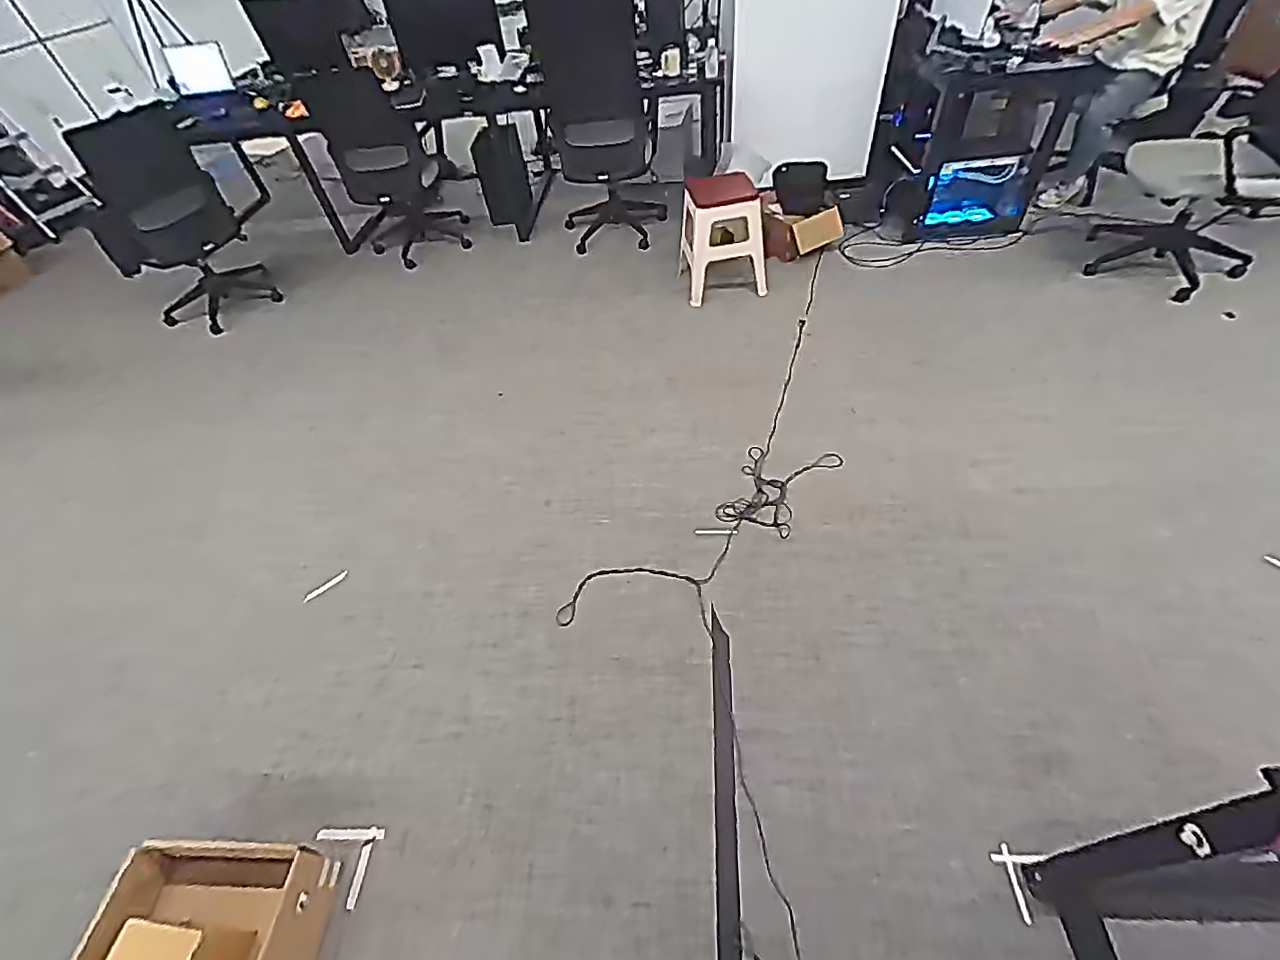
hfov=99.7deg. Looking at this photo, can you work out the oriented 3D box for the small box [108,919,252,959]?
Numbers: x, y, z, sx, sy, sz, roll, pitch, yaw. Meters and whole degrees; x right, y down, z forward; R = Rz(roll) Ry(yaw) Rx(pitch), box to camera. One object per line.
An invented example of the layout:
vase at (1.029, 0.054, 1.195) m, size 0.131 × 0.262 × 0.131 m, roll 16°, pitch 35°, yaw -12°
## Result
small box at (-0.938, 0.997, 1.075) m, size 0.179 × 0.176 × 0.168 m, roll 2°, pitch 50°, yaw 9°
